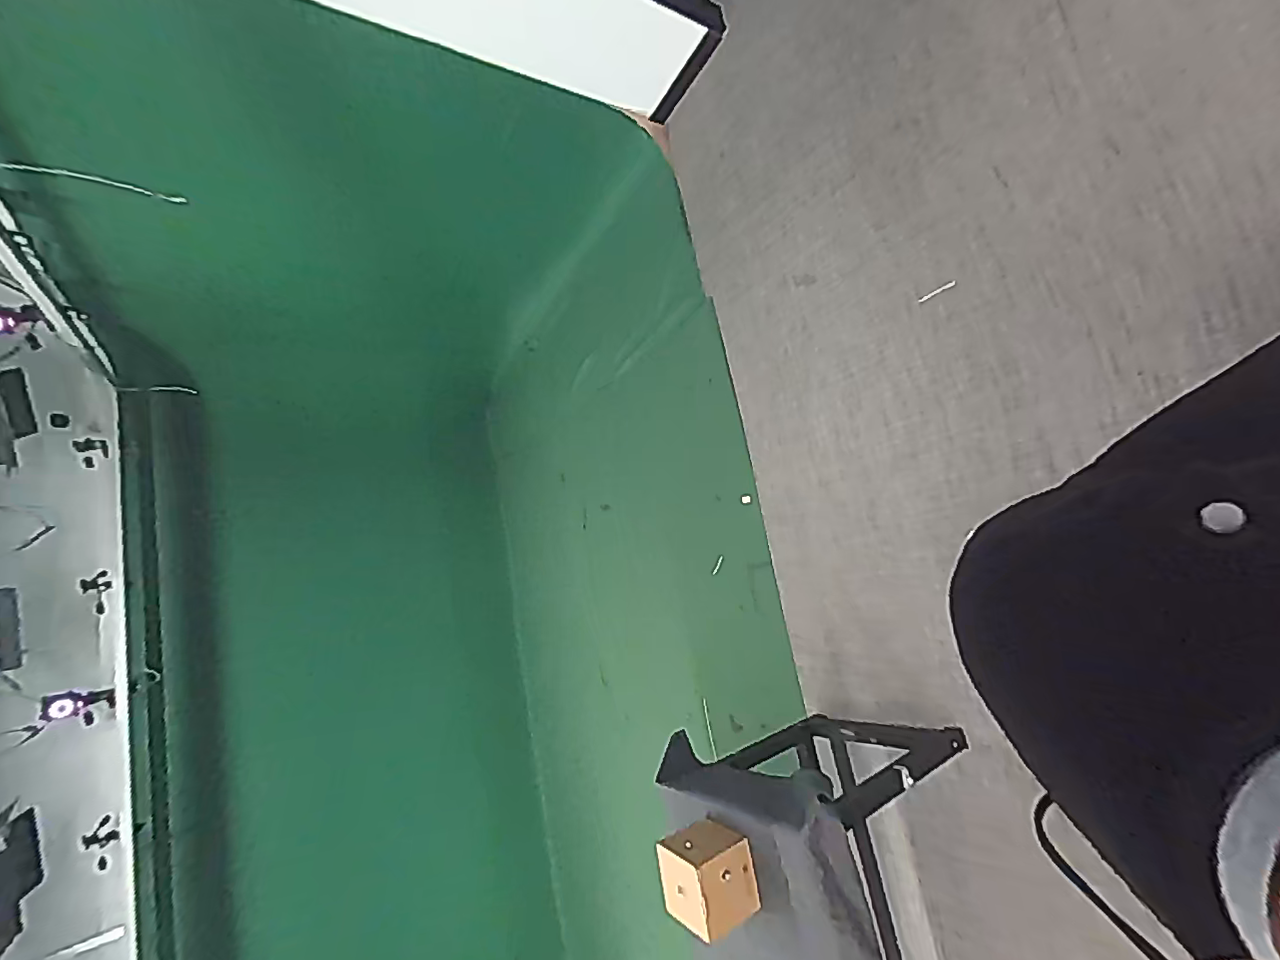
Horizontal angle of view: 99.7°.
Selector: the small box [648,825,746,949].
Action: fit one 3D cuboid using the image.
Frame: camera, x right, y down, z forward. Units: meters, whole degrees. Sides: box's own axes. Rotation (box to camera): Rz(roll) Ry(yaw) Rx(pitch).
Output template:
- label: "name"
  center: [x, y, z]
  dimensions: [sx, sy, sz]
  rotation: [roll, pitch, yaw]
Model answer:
- label: "small box"
  center: [0.146, 0.995, 1.344]
  dimensions: [0.179, 0.176, 0.168]
  rotation: [-22, 74, 56]
